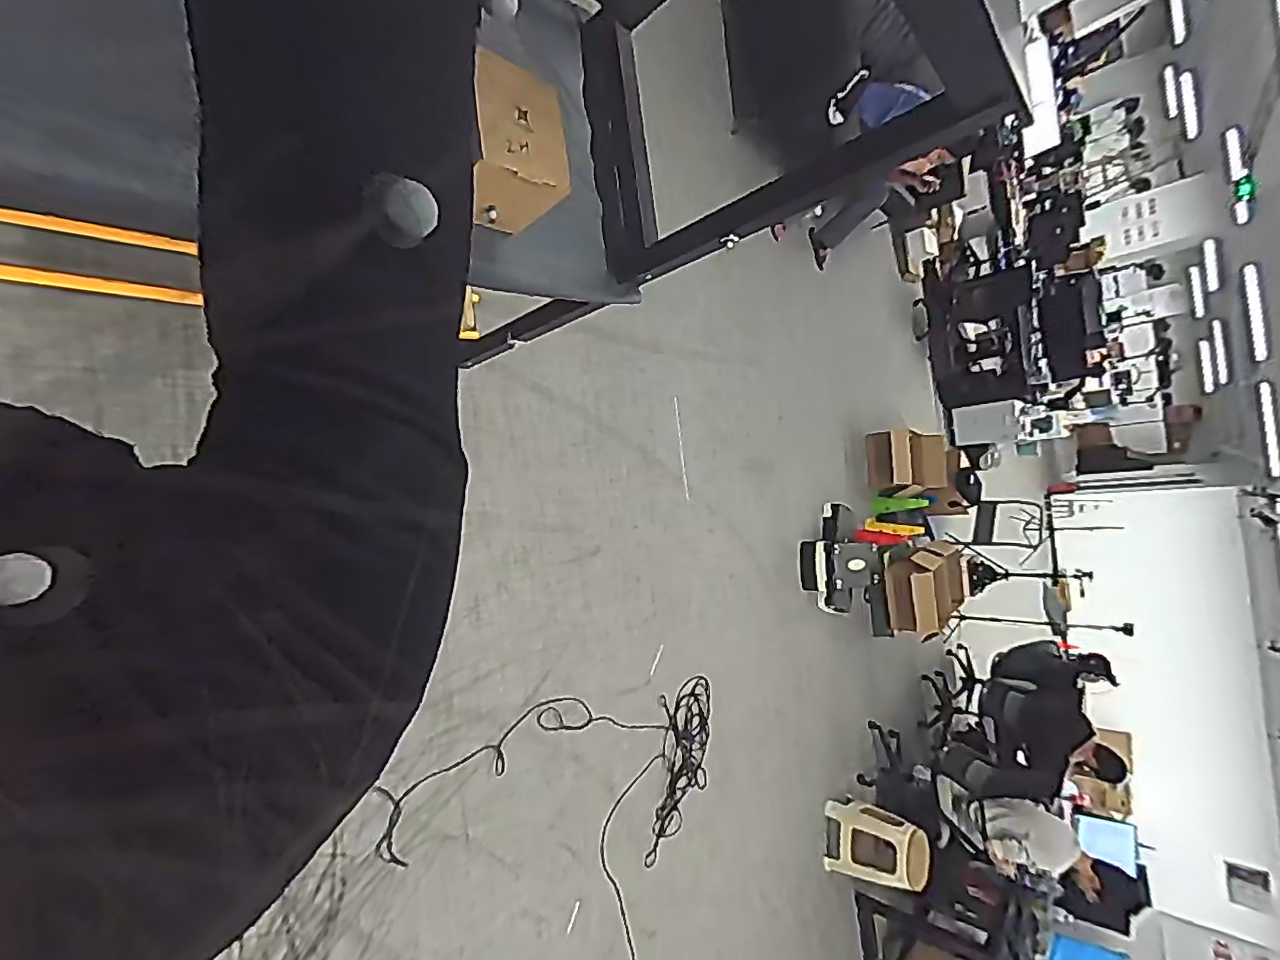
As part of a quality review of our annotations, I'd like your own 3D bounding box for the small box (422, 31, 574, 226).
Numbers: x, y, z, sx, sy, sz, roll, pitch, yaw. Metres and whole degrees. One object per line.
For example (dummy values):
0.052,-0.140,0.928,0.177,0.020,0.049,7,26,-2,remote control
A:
-0.232,-0.547,0.872,0.168,0.176,0.179,-8,89,-46,small box
